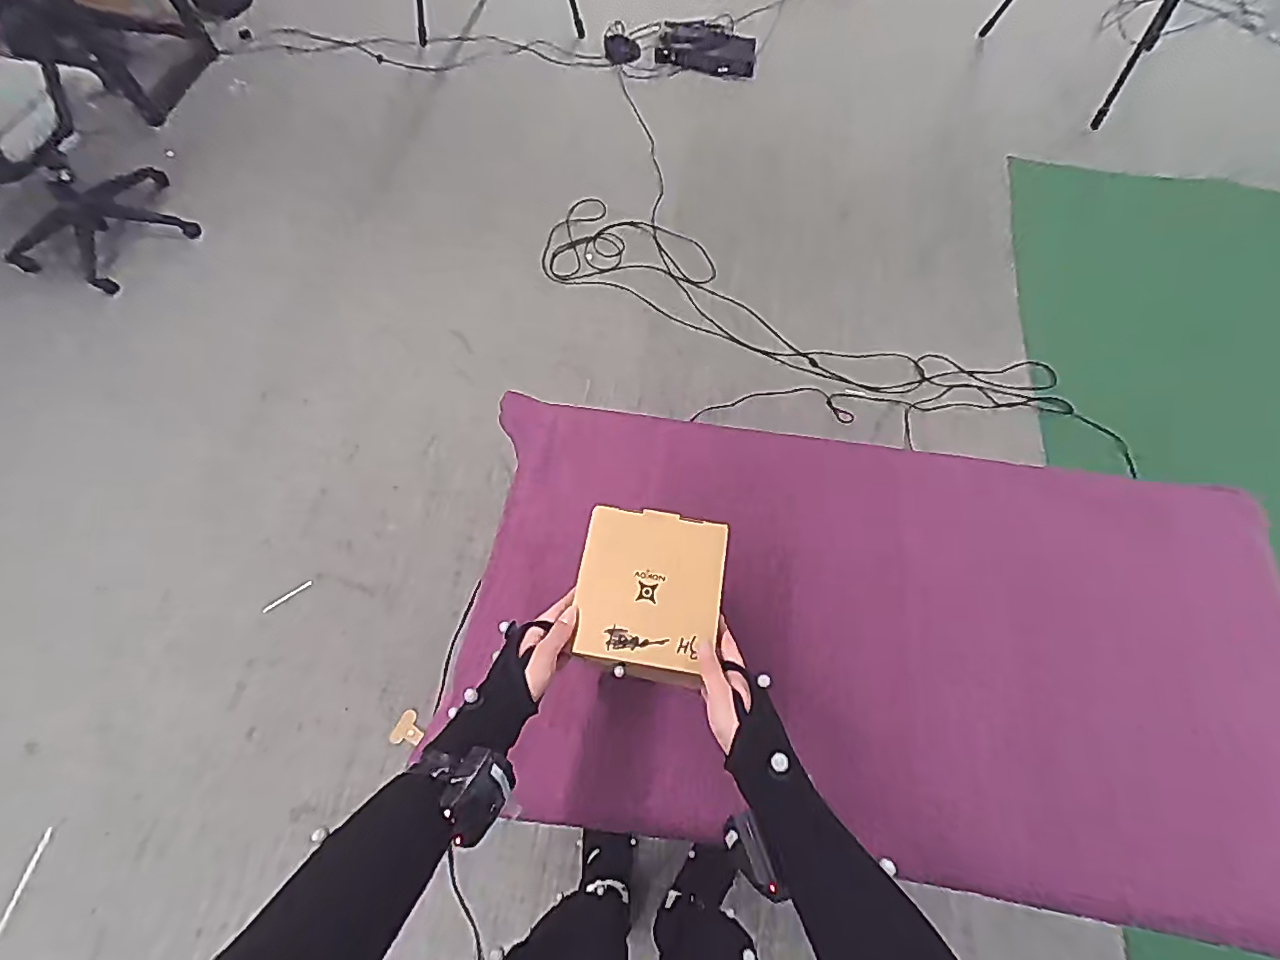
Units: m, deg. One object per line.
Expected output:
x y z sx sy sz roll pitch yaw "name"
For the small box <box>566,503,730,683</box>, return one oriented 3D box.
0.013 0.150 0.692 0.168 0.176 0.179 9 66 6 "small box"
